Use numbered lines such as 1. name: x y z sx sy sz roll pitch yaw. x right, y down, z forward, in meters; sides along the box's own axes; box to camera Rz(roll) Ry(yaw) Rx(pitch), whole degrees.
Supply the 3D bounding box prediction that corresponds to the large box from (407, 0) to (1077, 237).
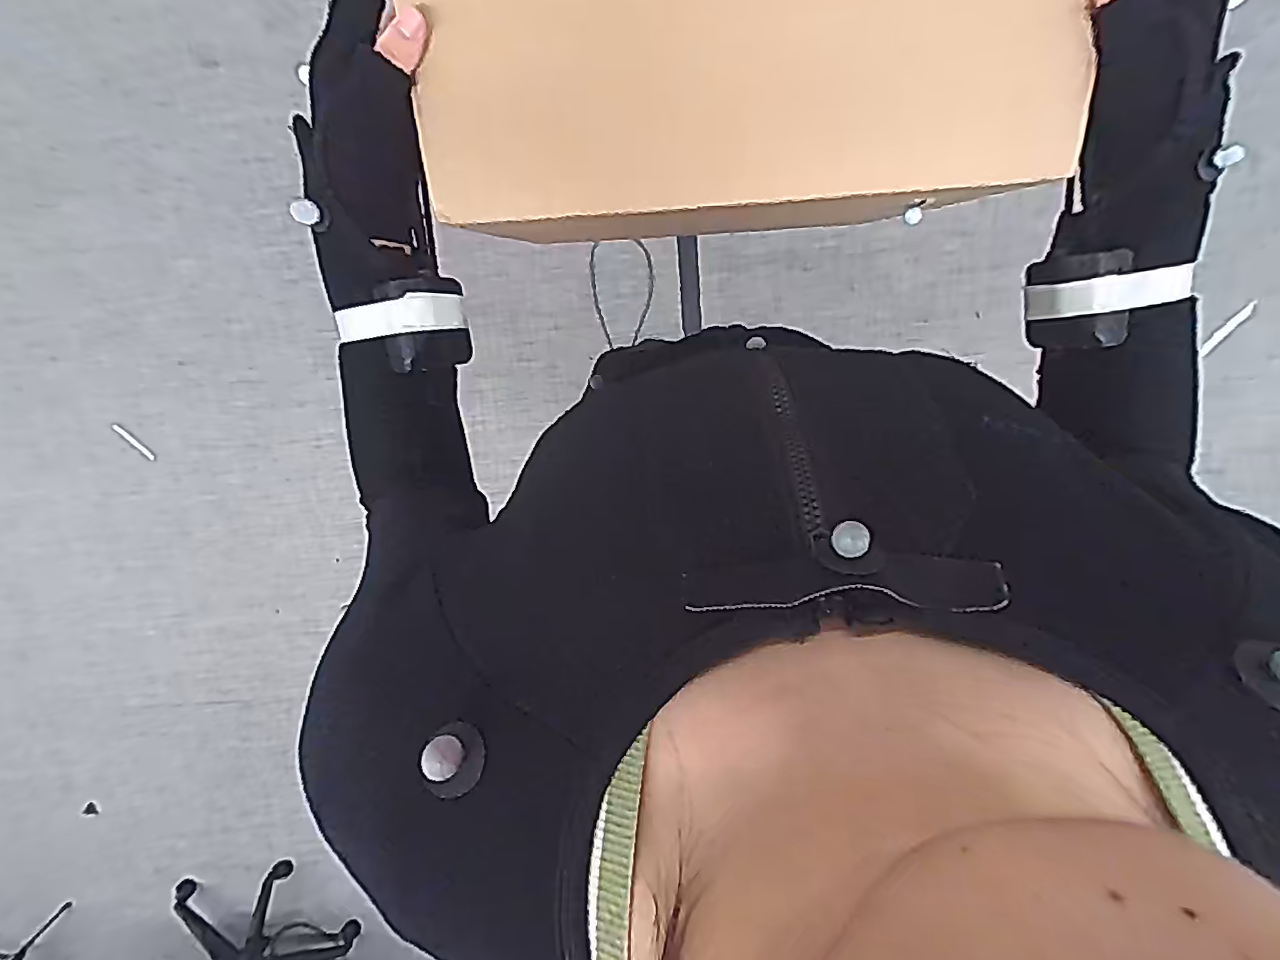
1. large box: 0.060 -0.384 0.440 0.408 0.320 0.320 -3 111 3
